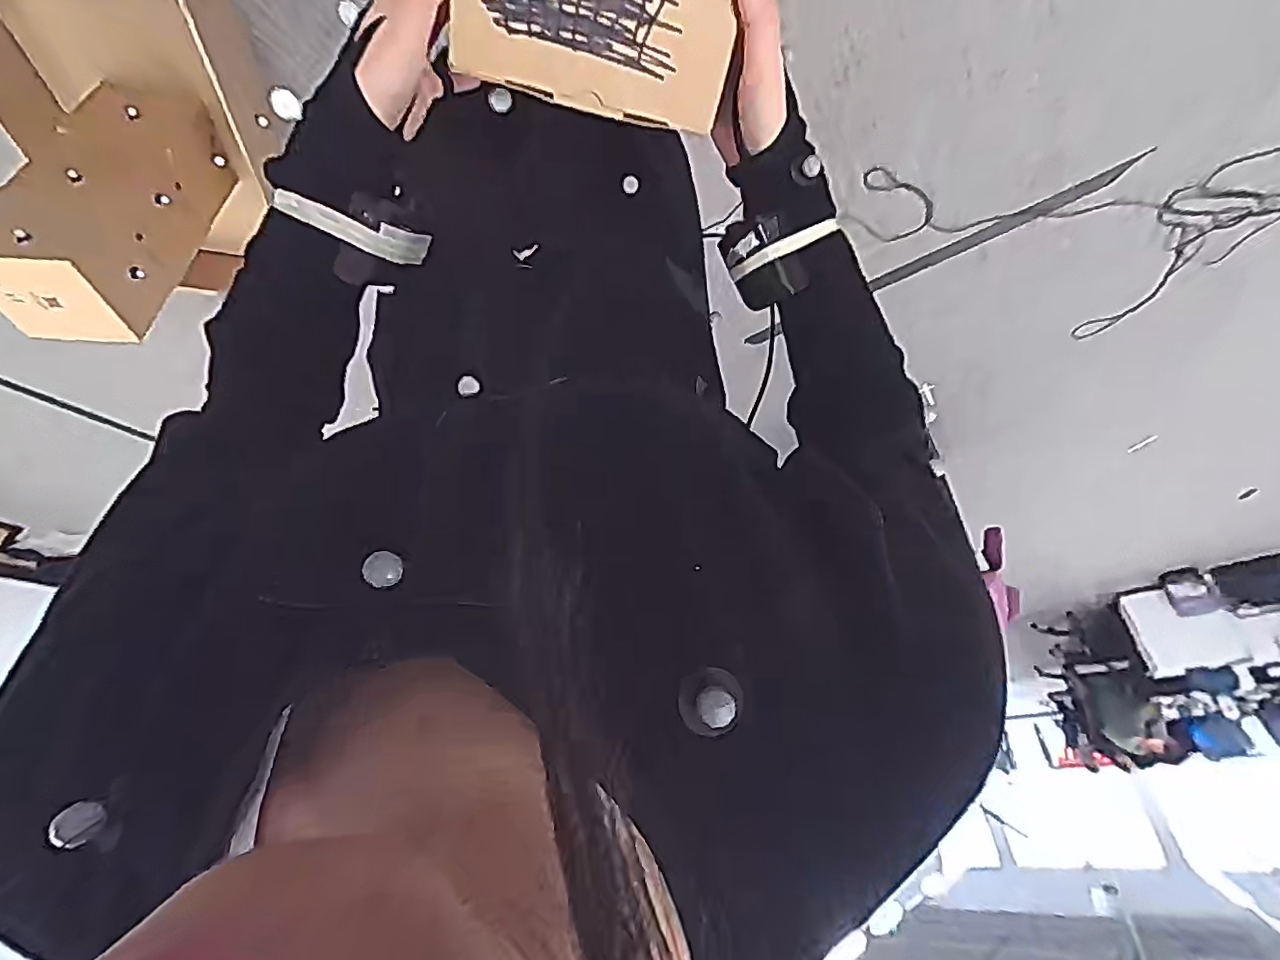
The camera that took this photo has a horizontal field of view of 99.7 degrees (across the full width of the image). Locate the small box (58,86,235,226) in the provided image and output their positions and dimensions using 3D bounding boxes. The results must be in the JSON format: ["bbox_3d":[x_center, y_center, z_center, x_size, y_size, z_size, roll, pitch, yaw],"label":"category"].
[{"bbox_3d":[-0.946,-0.634,1.059,0.179,0.176,0.168,3,149,-12],"label":"small box"}]

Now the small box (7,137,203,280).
[{"bbox_3d":[-0.943,-0.492,0.982,0.179,0.176,0.168,3,148,-7],"label":"small box"}]

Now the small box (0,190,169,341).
[{"bbox_3d":[-0.933,-0.352,0.893,0.179,0.176,0.168,1,148,-7],"label":"small box"}]
